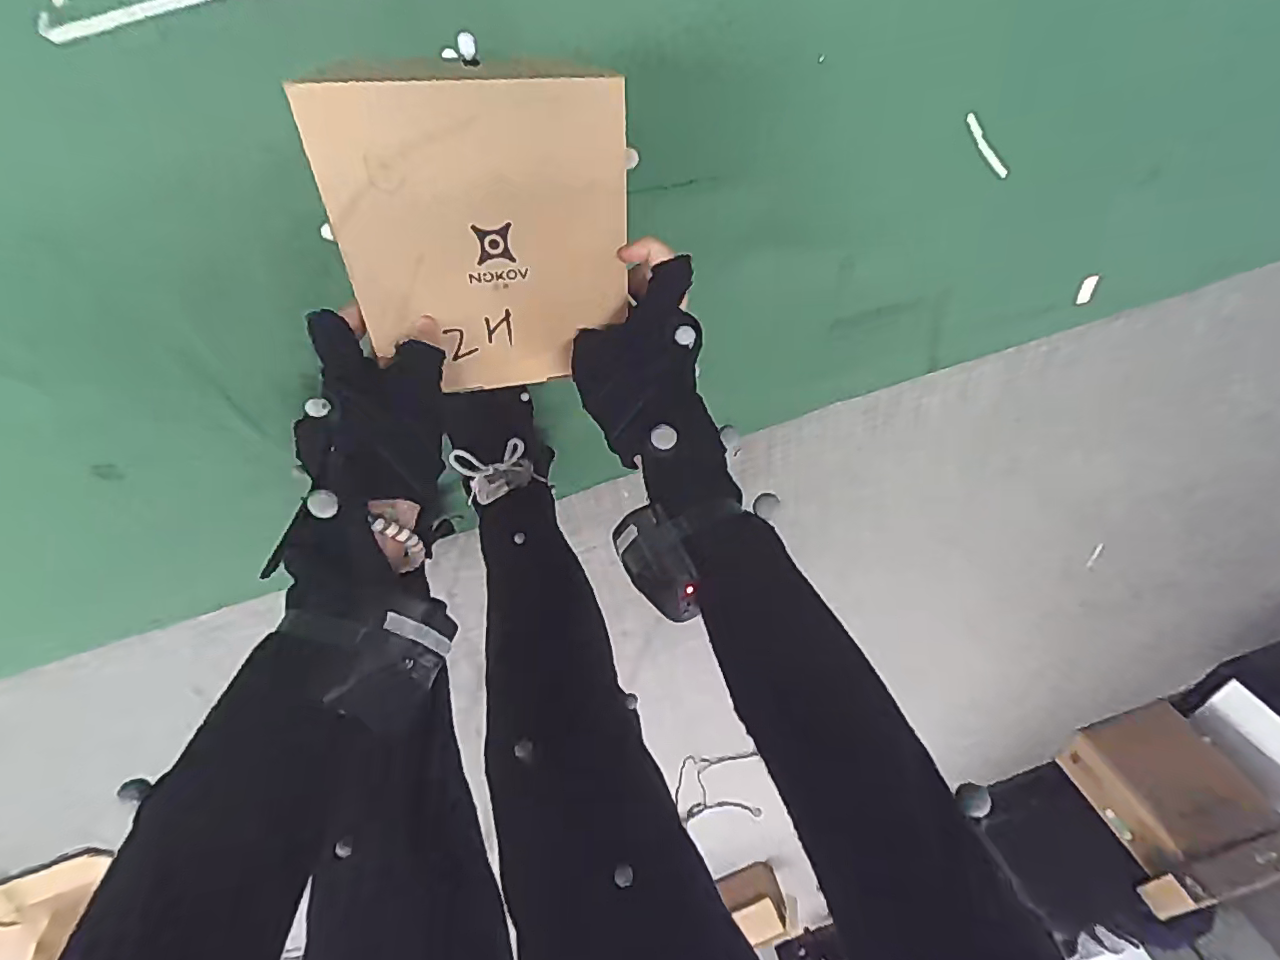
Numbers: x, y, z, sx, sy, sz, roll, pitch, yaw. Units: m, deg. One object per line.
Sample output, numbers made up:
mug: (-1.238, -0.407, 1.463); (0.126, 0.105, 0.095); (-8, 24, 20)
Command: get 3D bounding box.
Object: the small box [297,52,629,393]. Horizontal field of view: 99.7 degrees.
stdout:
small box: (-0.108, -0.187, 0.381); (0.168, 0.176, 0.179); (-10, 133, -12)
